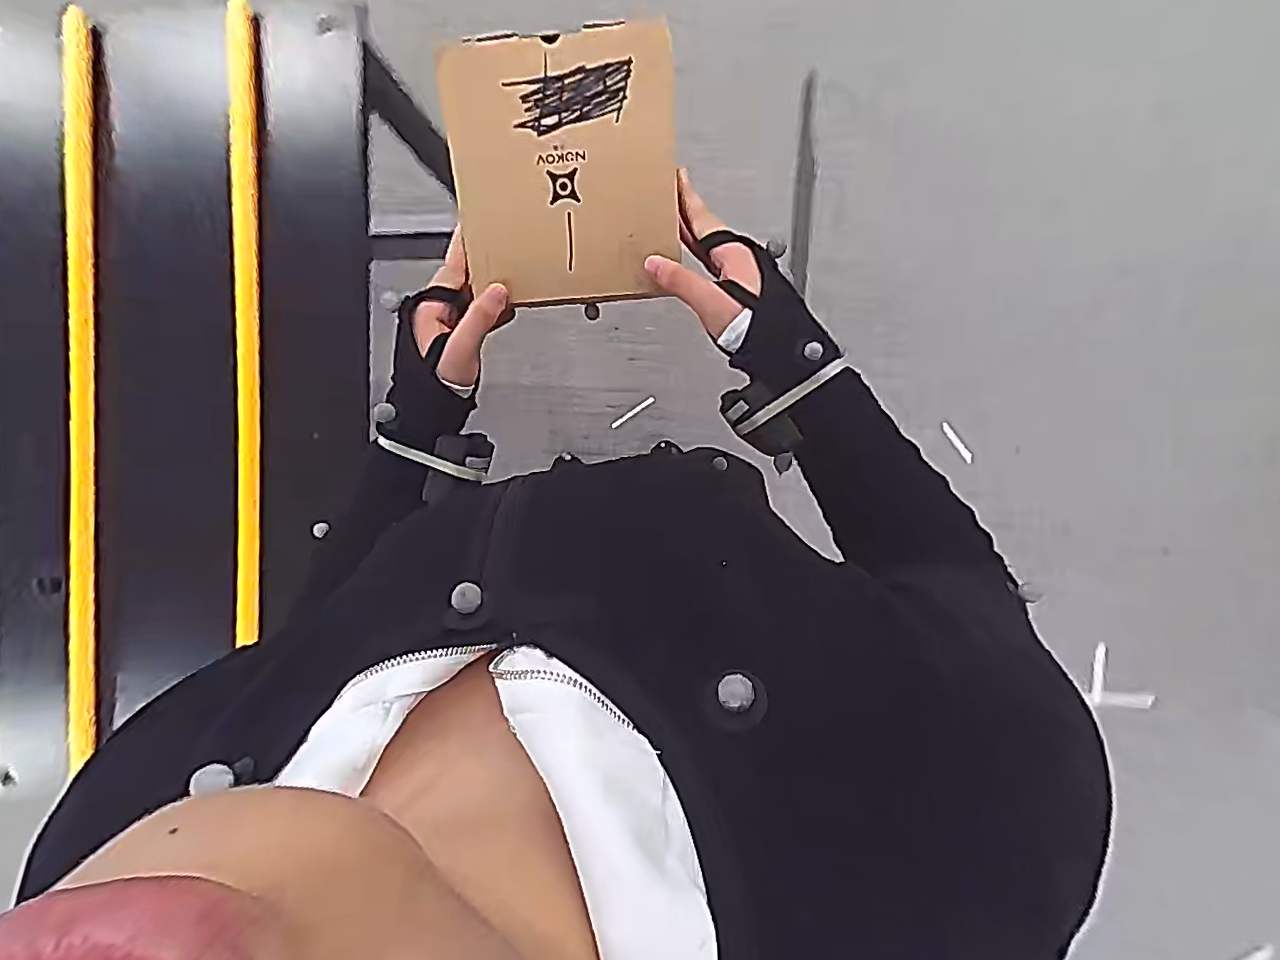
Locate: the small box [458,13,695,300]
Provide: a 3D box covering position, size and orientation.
[{"bbox_3d":[-0.038,-0.254,0.471,0.168,0.176,0.179,-2,107,5],"label":"small box"}]
